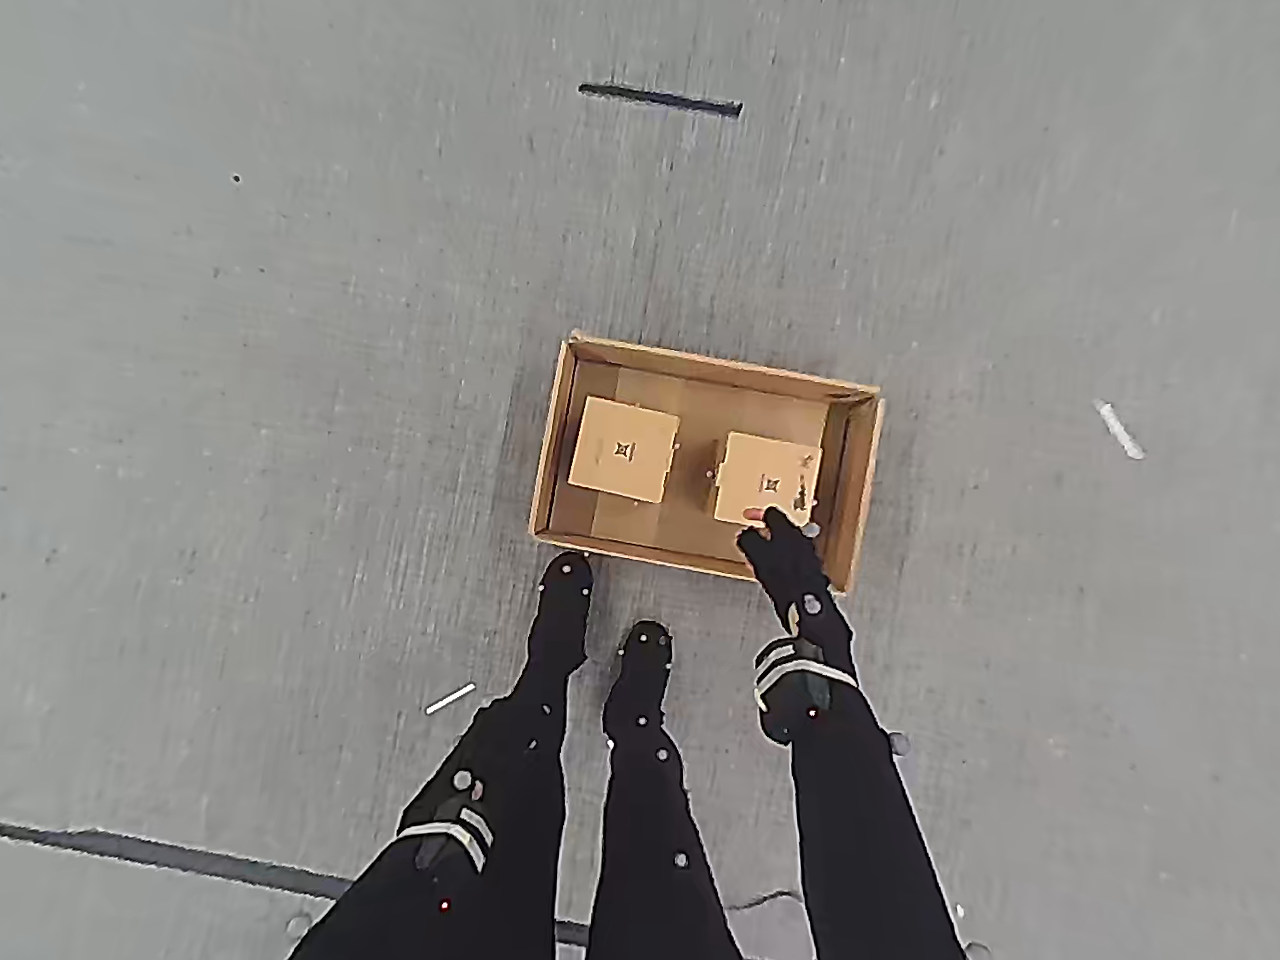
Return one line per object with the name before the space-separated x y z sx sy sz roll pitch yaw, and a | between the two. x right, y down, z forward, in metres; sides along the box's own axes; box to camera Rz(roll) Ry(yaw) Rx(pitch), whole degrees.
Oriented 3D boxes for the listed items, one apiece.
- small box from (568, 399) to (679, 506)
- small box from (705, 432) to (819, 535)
small box | -0.031 -0.050 1.063 0.179 0.176 0.168 13 89 0
small box | 0.229 0.008 1.065 0.179 0.176 0.168 10 90 1
